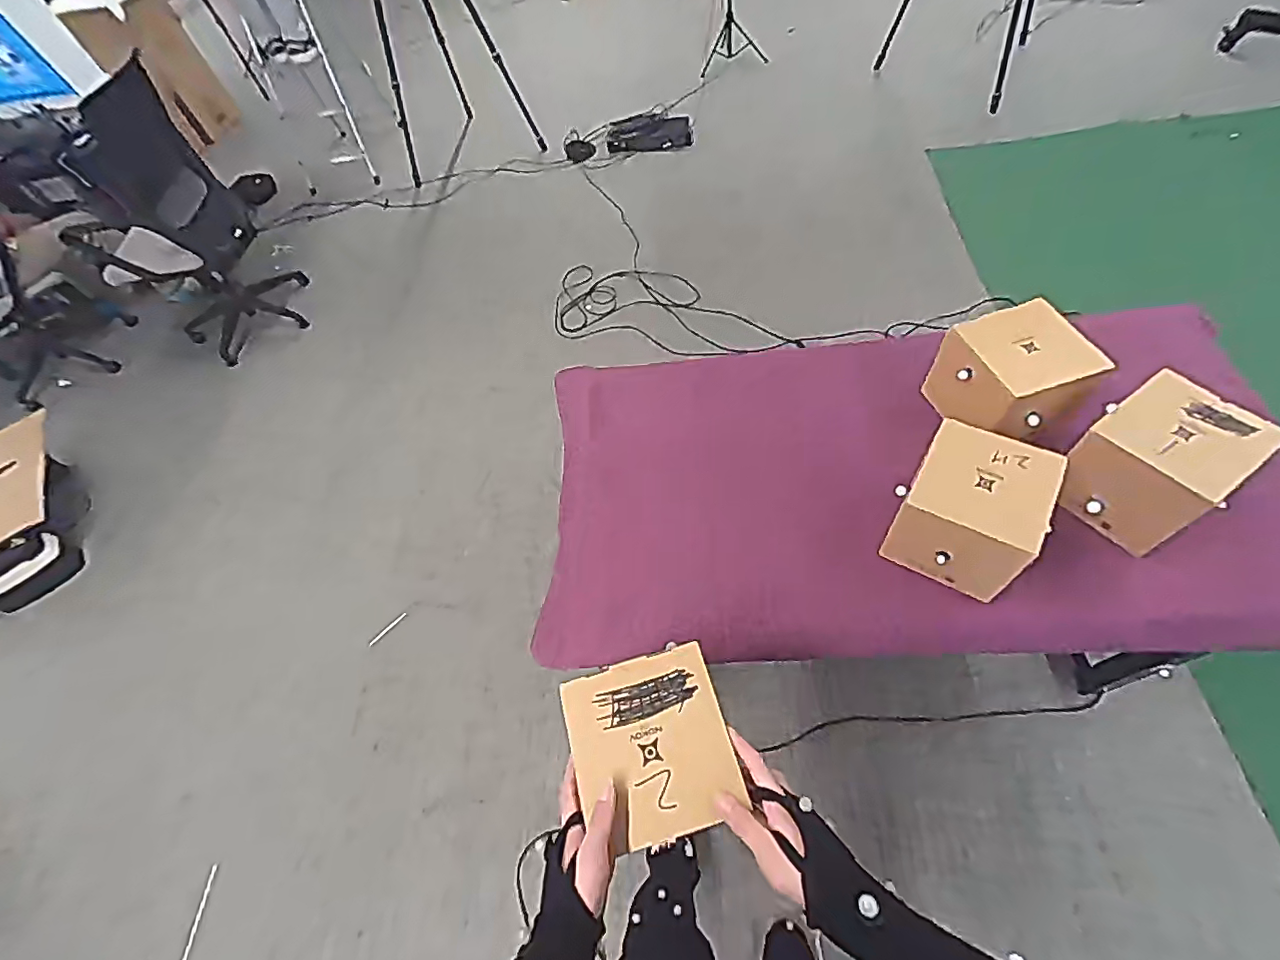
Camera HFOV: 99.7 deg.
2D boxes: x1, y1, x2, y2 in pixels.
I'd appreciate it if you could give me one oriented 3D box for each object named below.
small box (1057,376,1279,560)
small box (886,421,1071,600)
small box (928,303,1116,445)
[{"bbox_3d":[0.766,-0.014,0.805,0.179,0.176,0.168,-33,58,-11],"label":"small box"},{"bbox_3d":[0.489,0.051,0.805,0.168,0.176,0.179,26,65,23],"label":"small box"},{"bbox_3d":[0.635,-0.163,0.927,0.168,0.176,0.179,-17,56,-1],"label":"small box"}]
